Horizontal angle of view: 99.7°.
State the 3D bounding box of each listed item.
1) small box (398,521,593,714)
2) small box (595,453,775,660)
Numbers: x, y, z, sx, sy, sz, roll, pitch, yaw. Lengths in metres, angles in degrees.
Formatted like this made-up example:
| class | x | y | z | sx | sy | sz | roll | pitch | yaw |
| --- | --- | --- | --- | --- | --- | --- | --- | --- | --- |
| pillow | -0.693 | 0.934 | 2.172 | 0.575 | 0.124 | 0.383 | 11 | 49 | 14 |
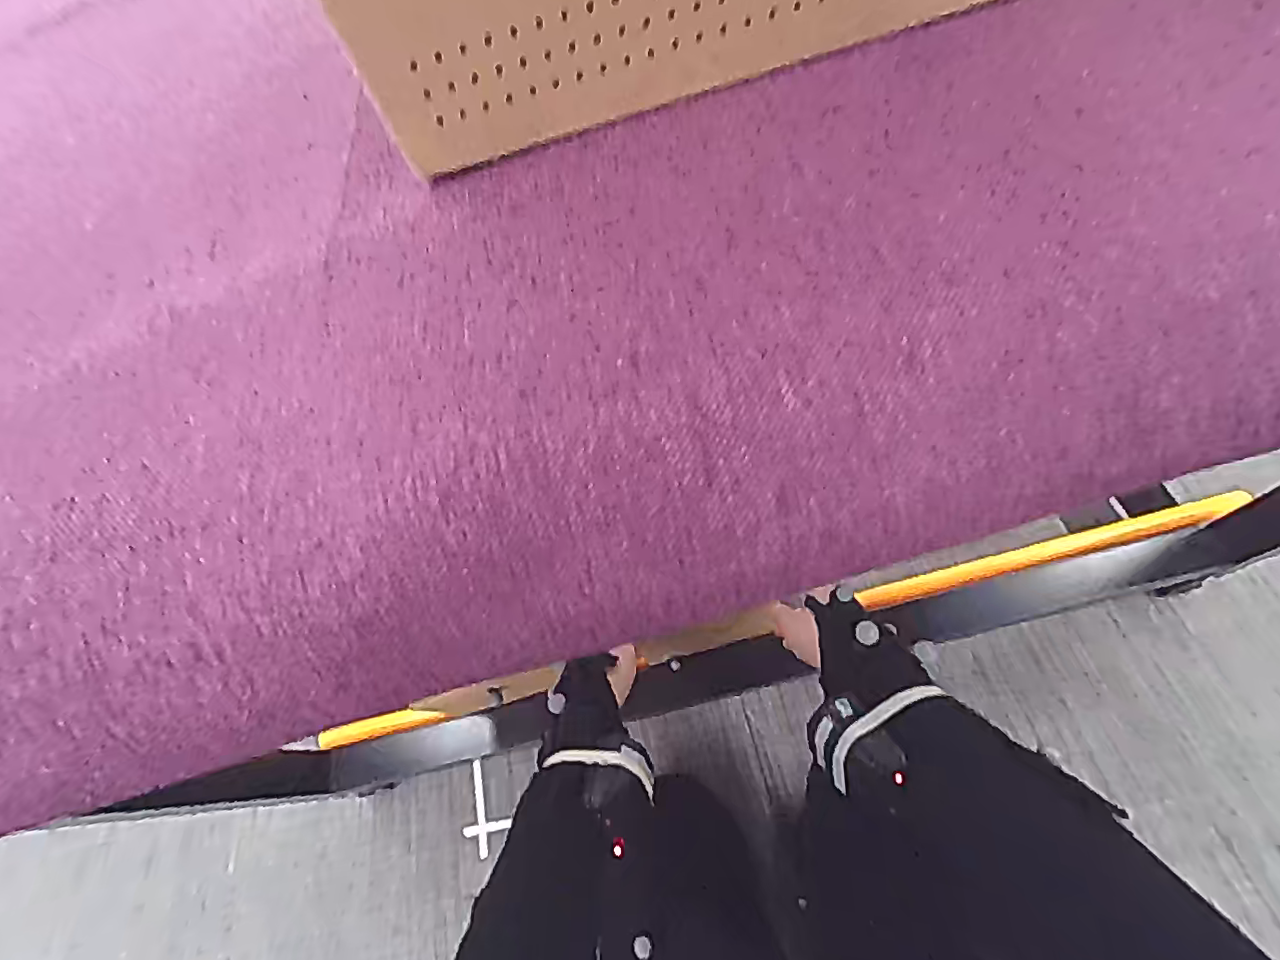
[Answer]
| class | x | y | z | sx | sy | sz | roll | pitch | yaw |
| --- | --- | --- | --- | --- | --- | --- | --- | --- | --- |
| small box | -0.165 | 0.175 | 0.662 | 0.179 | 0.176 | 0.168 | -19 | 62 | 1 |
| small box | 0.058 | 0.102 | 0.652 | 0.168 | 0.176 | 0.179 | -17 | 54 | 2 |
